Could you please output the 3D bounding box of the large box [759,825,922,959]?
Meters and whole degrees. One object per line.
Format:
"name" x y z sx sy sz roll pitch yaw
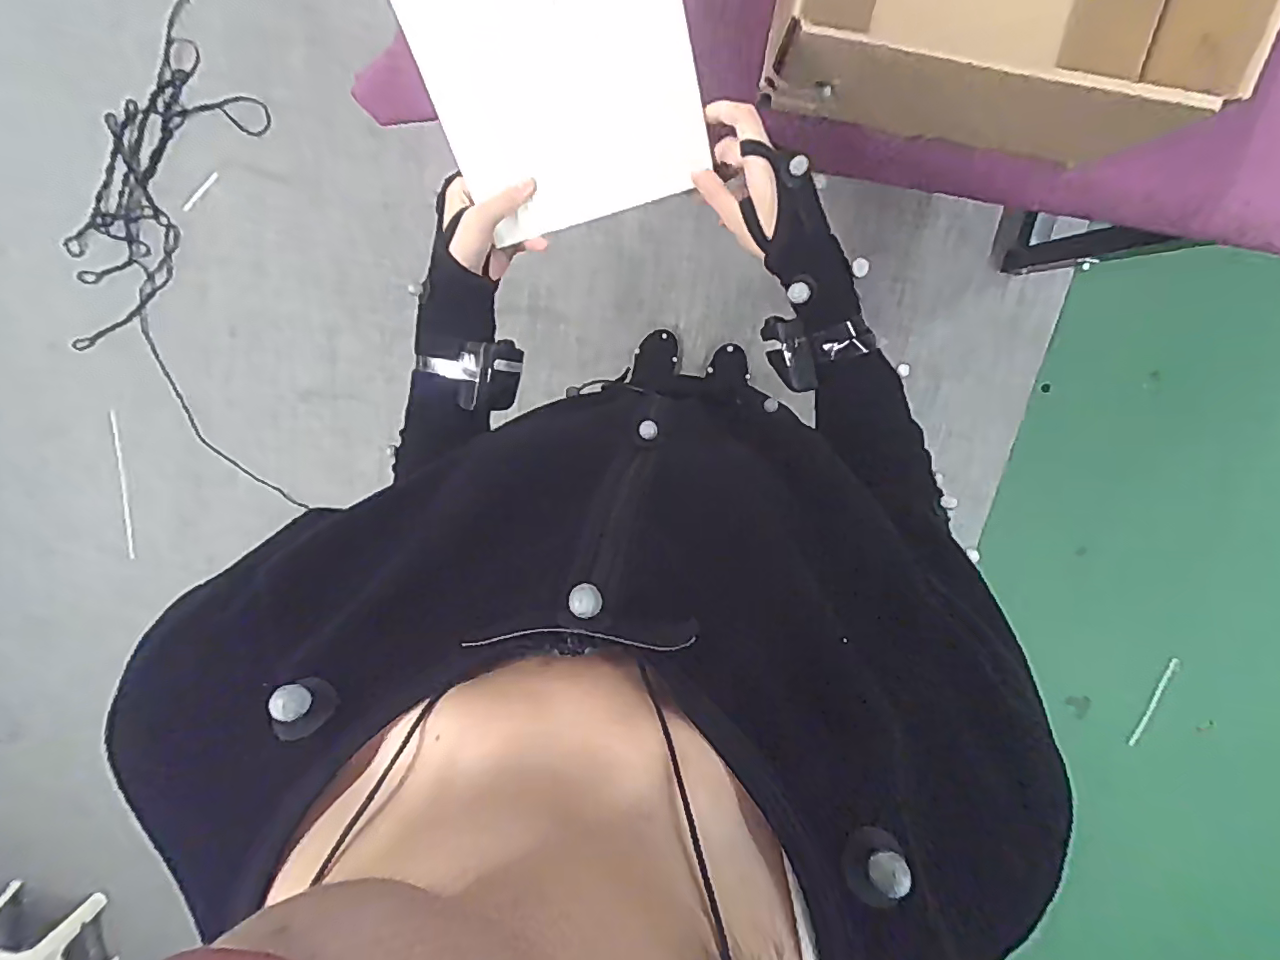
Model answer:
"large box" 0.602 1.334 1.681 0.408 0.320 0.320 -5 105 3

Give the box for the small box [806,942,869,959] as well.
"small box" 0.544 1.385 1.446 0.168 0.176 0.179 -4 104 5
